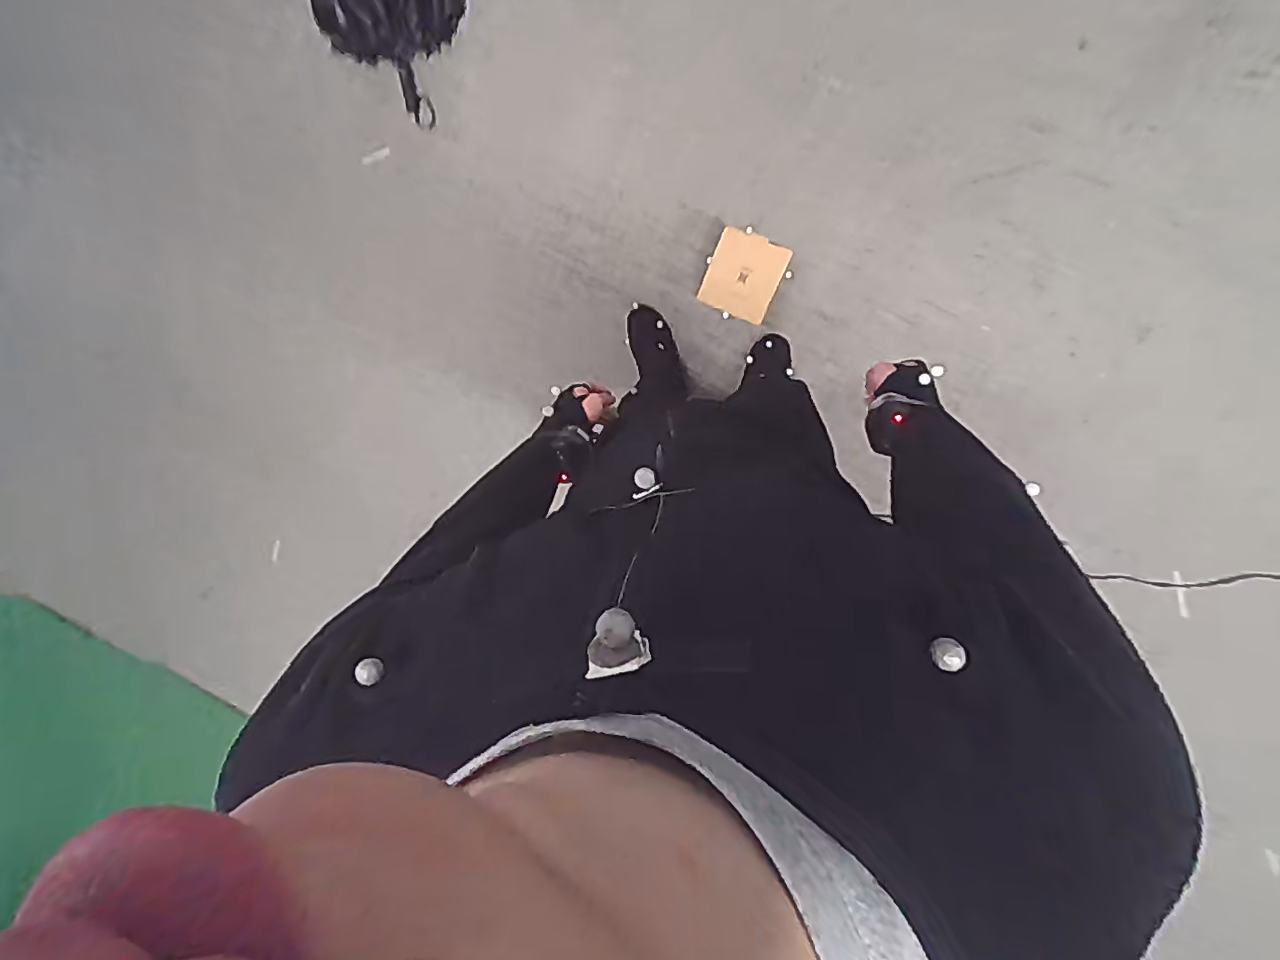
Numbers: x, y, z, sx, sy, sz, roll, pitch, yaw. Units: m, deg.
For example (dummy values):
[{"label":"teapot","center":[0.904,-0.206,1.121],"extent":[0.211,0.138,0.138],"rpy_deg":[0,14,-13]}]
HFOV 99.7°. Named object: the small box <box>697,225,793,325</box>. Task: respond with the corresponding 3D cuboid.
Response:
[{"label":"small box","center":[0.256,-0.493,1.315],"extent":[0.168,0.176,0.179],"rpy_deg":[25,112,7]}]
